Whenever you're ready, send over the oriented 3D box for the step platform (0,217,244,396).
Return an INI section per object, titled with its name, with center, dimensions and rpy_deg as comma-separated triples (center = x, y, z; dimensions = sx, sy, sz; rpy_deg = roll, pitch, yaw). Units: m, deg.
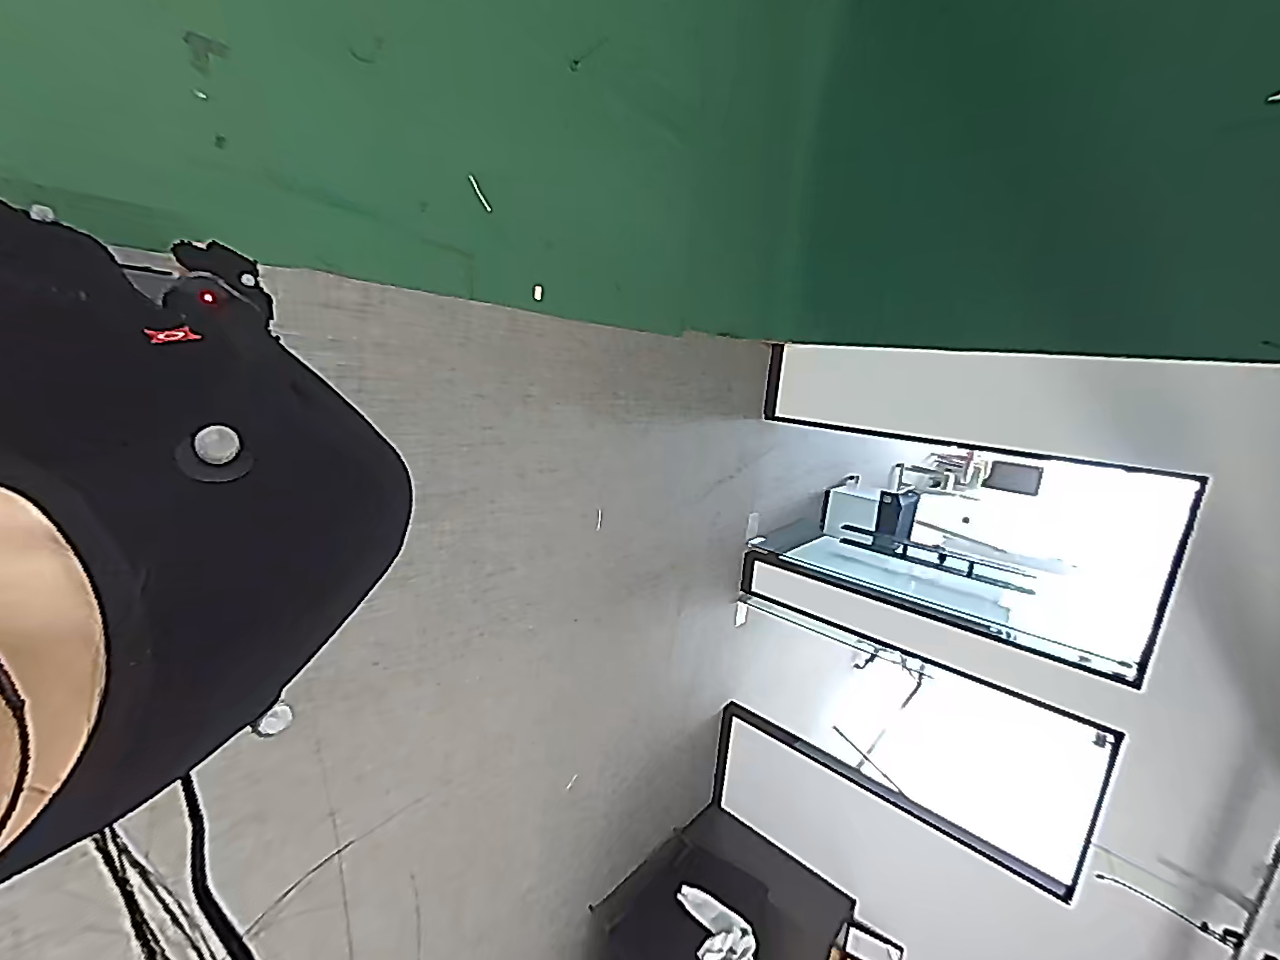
[step platform]
center = -1.075, -0.291, 0.871
dimensions = 0.684, 0.204, 0.286
rpy_deg = -8, 109, -47
